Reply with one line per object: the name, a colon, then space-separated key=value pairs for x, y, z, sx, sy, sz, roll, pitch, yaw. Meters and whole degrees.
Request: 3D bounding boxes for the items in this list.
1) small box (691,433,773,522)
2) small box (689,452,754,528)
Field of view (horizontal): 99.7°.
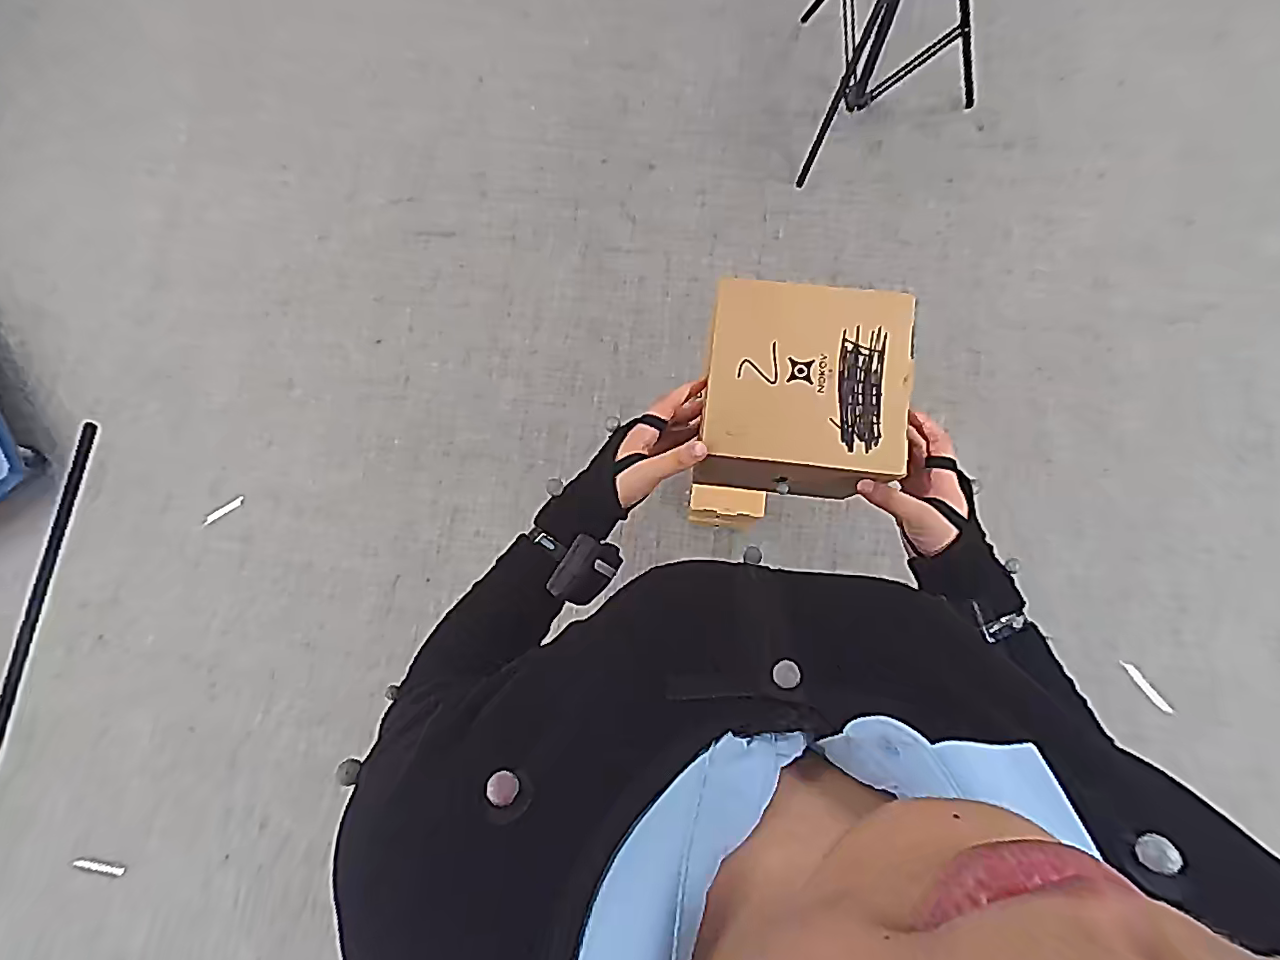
small box: x=0.214 y=-0.002 z=1.293 sx=0.168 sy=0.176 sz=0.179 roll=7 pitch=82 yaw=6
small box: x=0.222 y=0.033 z=1.452 sx=0.168 sy=0.176 sz=0.179 roll=5 pitch=81 yaw=5
